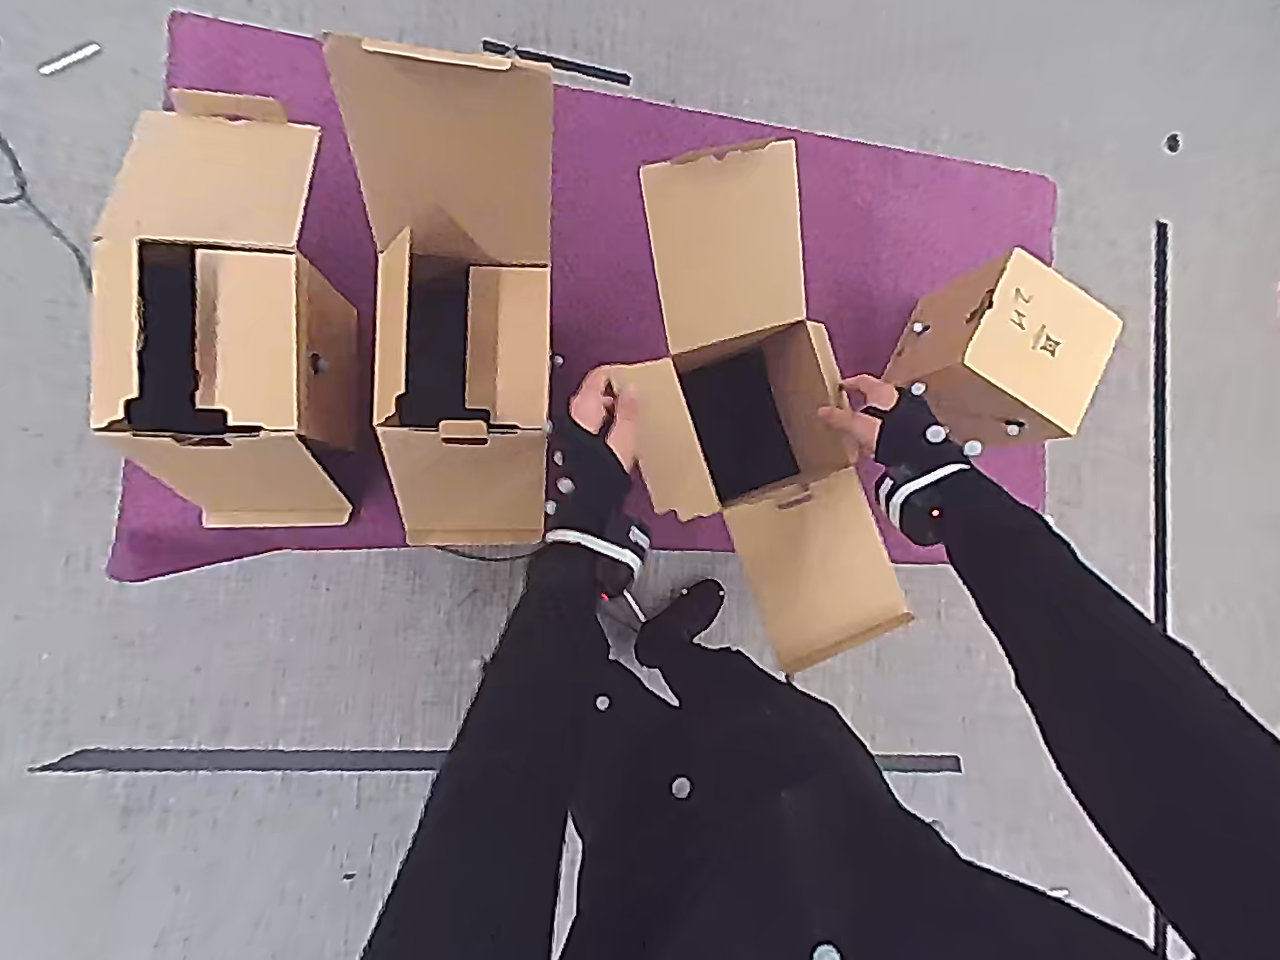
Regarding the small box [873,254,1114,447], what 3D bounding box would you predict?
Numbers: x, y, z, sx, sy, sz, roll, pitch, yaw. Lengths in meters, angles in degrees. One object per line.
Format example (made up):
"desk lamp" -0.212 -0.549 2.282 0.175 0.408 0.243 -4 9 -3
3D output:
"small box" 0.457 -0.156 0.722 0.179 0.176 0.168 30 82 -7
